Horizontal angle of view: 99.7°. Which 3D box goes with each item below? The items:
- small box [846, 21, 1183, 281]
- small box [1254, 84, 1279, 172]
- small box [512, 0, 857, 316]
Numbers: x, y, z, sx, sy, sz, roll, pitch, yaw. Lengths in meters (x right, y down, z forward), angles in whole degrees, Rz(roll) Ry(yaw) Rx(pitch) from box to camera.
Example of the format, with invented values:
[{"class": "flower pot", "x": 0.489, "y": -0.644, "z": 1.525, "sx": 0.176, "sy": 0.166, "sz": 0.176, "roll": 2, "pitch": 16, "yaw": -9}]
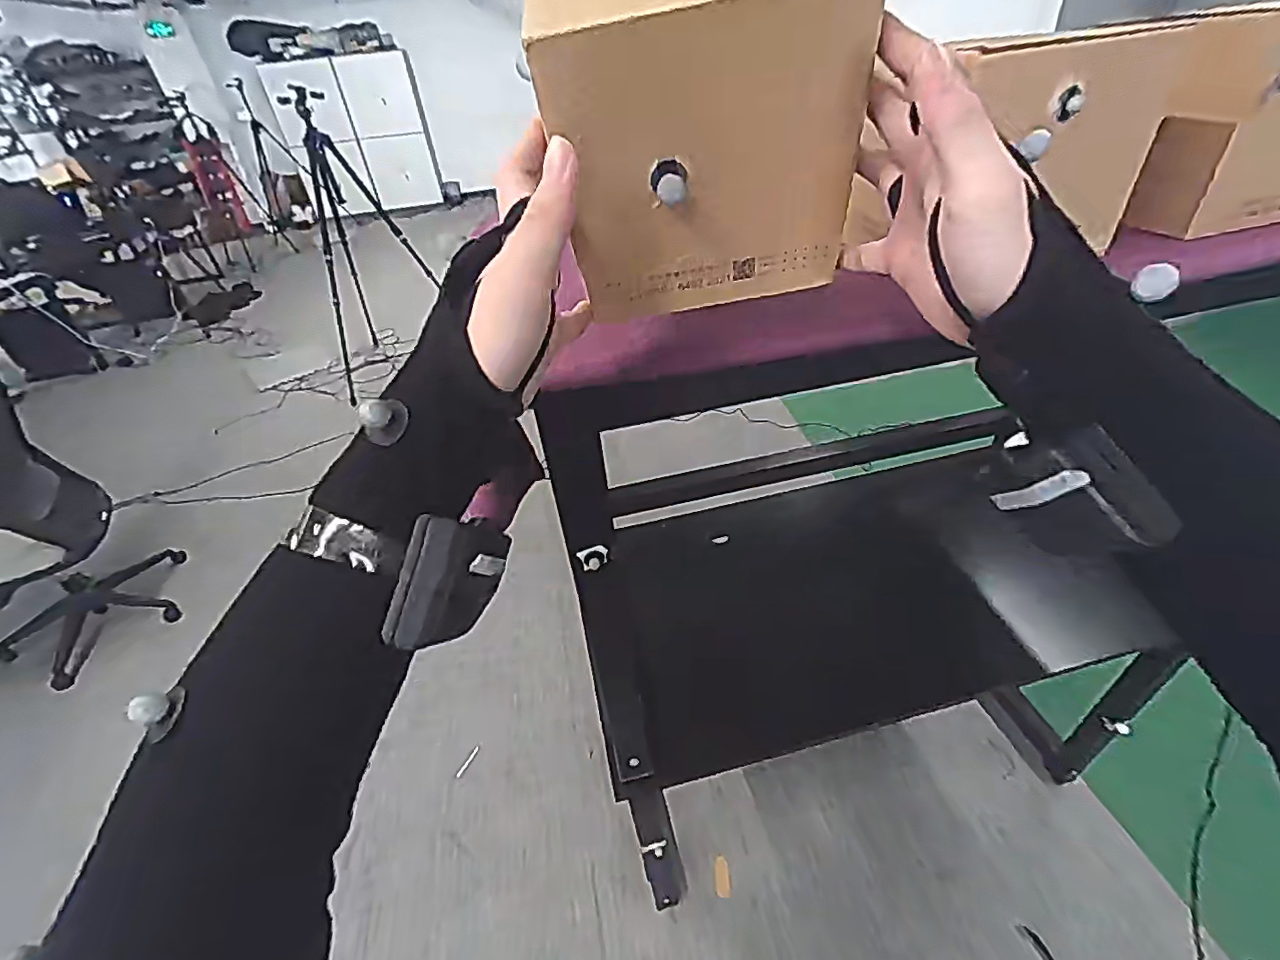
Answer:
[{"class": "small box", "x": 0.305, "y": -0.292, "z": 0.493, "sx": 0.179, "sy": 0.176, "sz": 0.168, "roll": -10, "pitch": 37, "yaw": -5}, {"class": "small box", "x": 0.815, "y": -0.410, "z": 0.555, "sx": 0.179, "sy": 0.176, "sz": 0.168, "roll": -10, "pitch": 39, "yaw": -3}, {"class": "small box", "x": 0.025, "y": -0.228, "z": 0.355, "sx": 0.168, "sy": 0.176, "sz": 0.179, "roll": -10, "pitch": 54, "yaw": 4}]
